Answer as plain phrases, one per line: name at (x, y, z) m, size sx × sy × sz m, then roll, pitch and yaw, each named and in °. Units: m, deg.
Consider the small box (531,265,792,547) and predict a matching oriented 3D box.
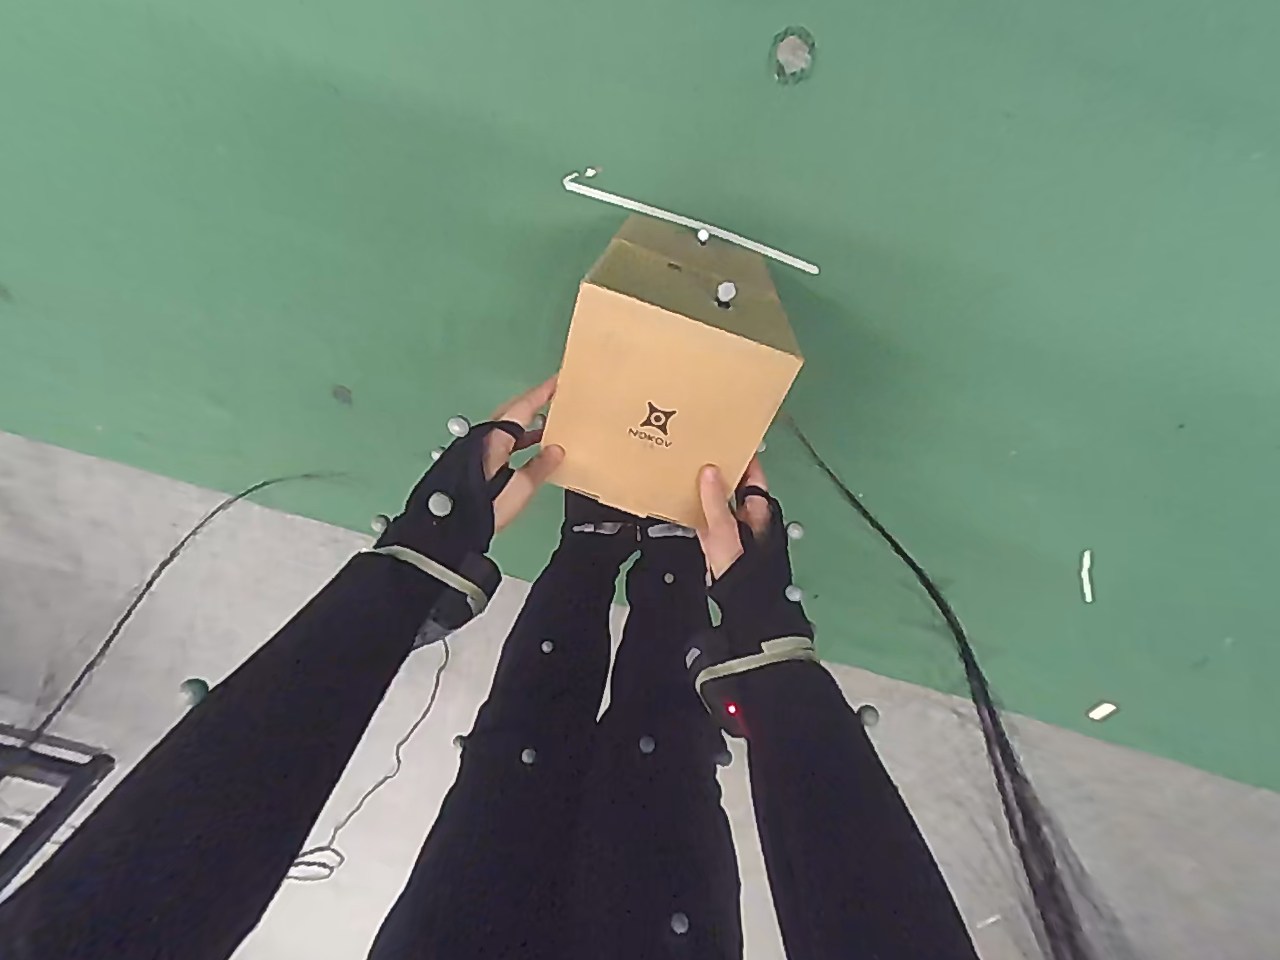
small box at (0.014, -0.074, 0.492) m, size 0.168 × 0.176 × 0.179 m, roll 17°, pitch 124°, yaw -5°
